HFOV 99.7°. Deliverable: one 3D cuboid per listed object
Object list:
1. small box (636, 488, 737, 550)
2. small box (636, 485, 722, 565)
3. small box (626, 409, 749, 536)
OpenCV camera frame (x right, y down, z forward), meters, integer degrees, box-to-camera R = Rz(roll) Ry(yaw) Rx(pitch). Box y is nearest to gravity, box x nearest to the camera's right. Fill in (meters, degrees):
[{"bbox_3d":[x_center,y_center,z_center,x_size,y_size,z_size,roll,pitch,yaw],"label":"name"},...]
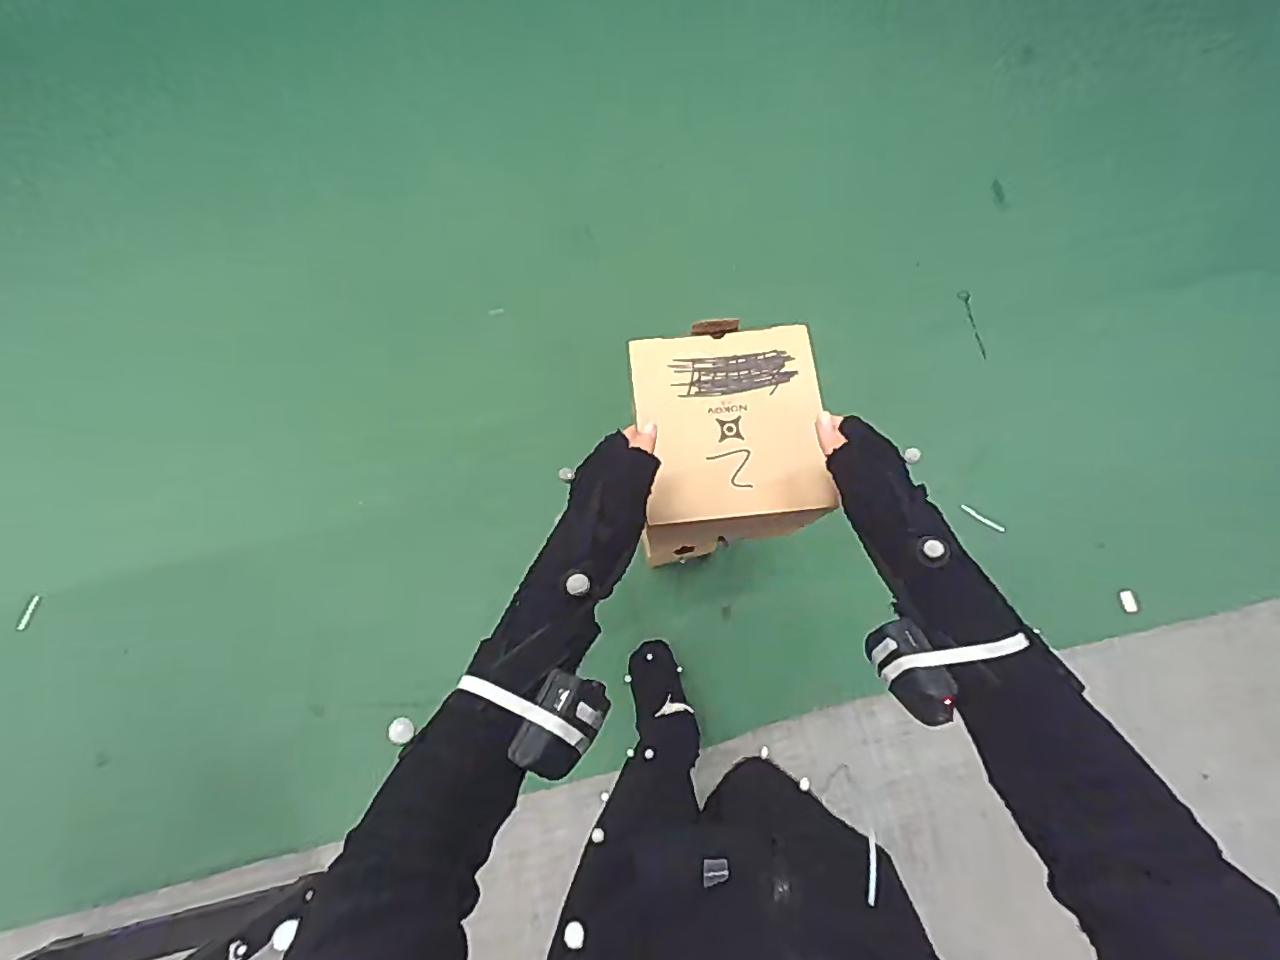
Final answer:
[{"bbox_3d":[0.089,0.041,1.140,0.179,0.176,0.168,-11,72,-2],"label":"small box"},{"bbox_3d":[0.088,0.094,1.298,0.168,0.176,0.179,-13,73,-2],"label":"small box"},{"bbox_3d":[0.081,-0.005,0.986,0.179,0.176,0.168,-14,73,-3],"label":"small box"}]
